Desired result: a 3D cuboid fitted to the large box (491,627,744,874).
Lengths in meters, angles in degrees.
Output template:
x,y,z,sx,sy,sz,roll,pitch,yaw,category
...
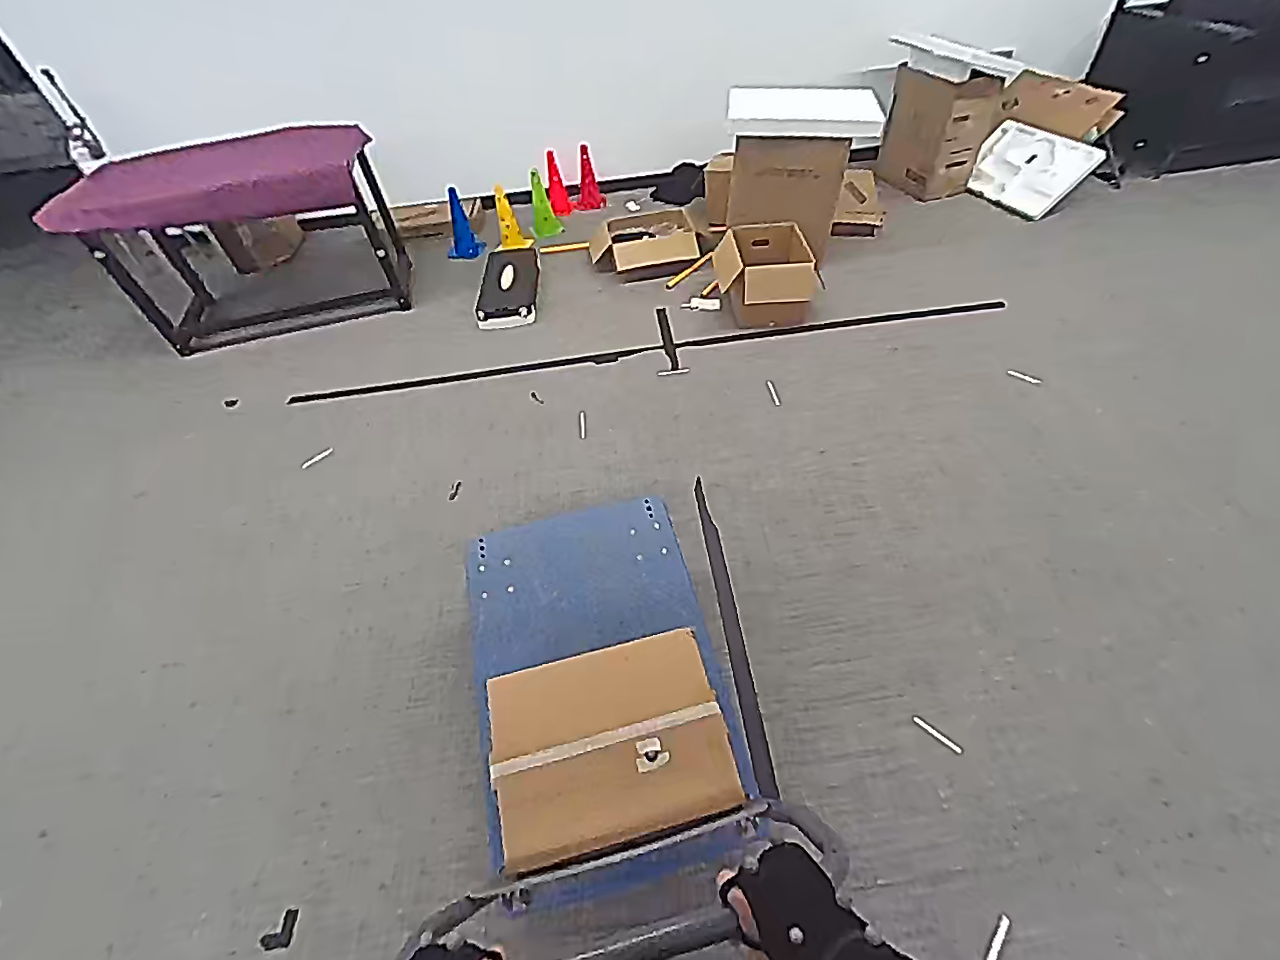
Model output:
x,y,z,sx,sy,sz,roll,pitch,yaw,category
-0.051,0.544,1.095,0.408,0.320,0.320,-13,58,-8,large box
